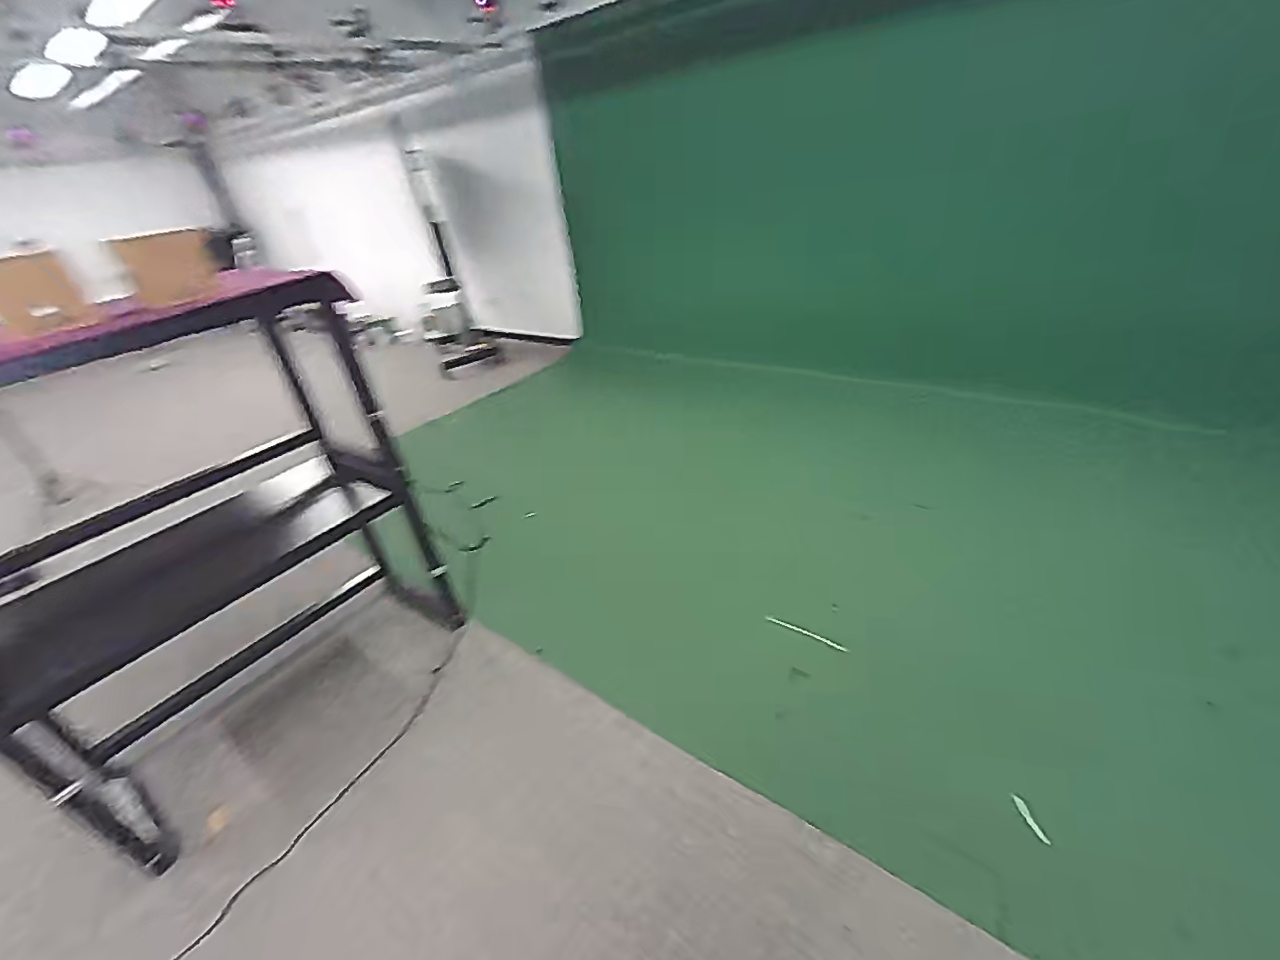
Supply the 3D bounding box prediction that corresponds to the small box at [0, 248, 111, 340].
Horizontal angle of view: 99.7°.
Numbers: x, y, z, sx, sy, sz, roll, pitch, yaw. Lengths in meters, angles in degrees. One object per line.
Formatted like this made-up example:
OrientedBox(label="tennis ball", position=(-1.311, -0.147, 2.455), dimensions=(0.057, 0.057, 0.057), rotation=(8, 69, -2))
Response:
OrientedBox(label="small box", position=(-1.387, -0.430, 1.250), dimensions=(0.179, 0.176, 0.168), rotation=(16, 38, 35))
